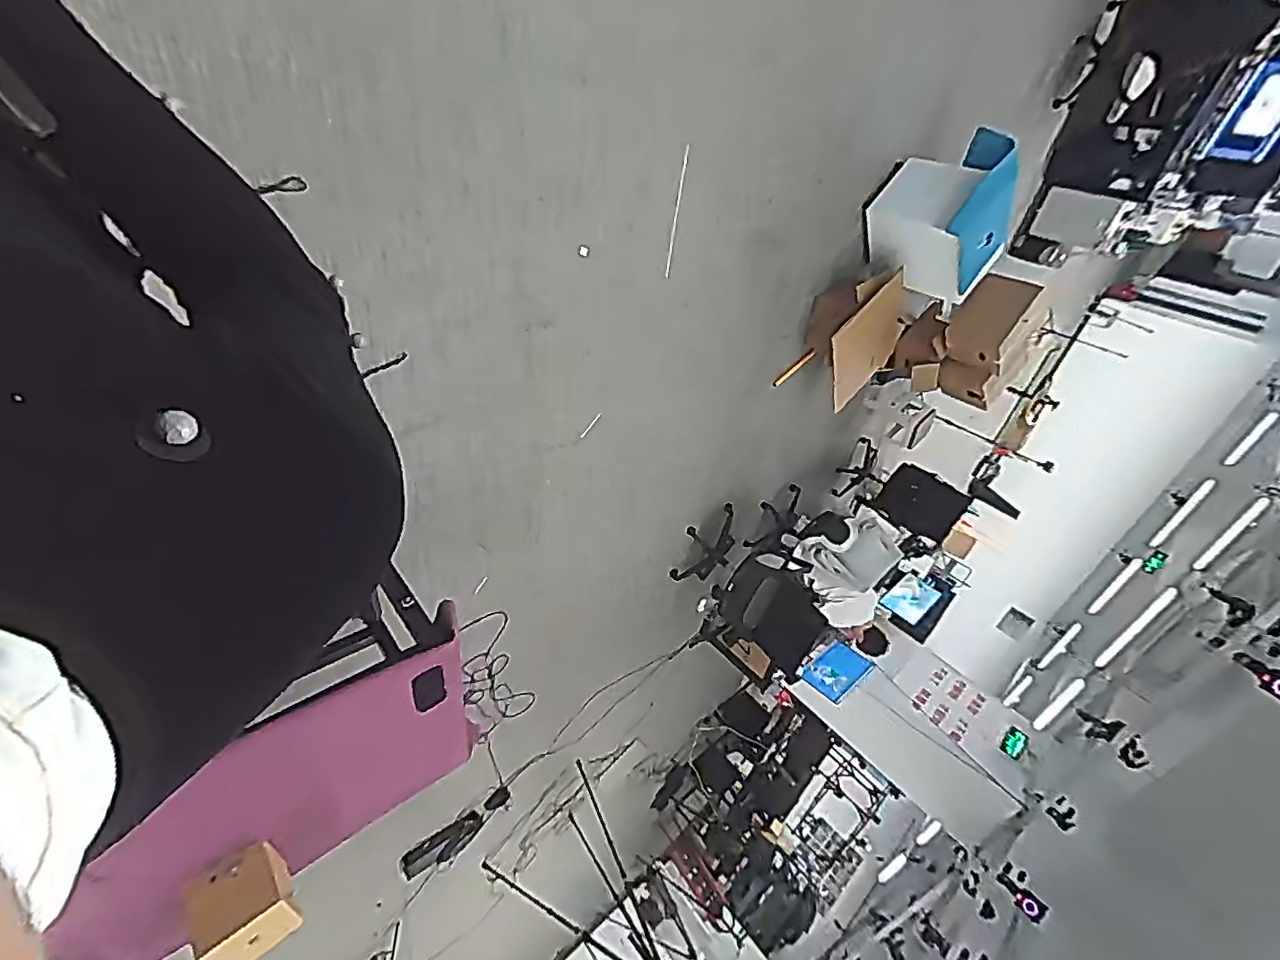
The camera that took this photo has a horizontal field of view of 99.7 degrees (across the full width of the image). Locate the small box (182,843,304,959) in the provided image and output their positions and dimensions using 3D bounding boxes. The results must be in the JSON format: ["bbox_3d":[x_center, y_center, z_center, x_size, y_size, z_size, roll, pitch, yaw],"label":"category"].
[{"bbox_3d":[-0.912,0.990,1.247,0.168,0.176,0.179,-26,137,-35],"label":"small box"}]
